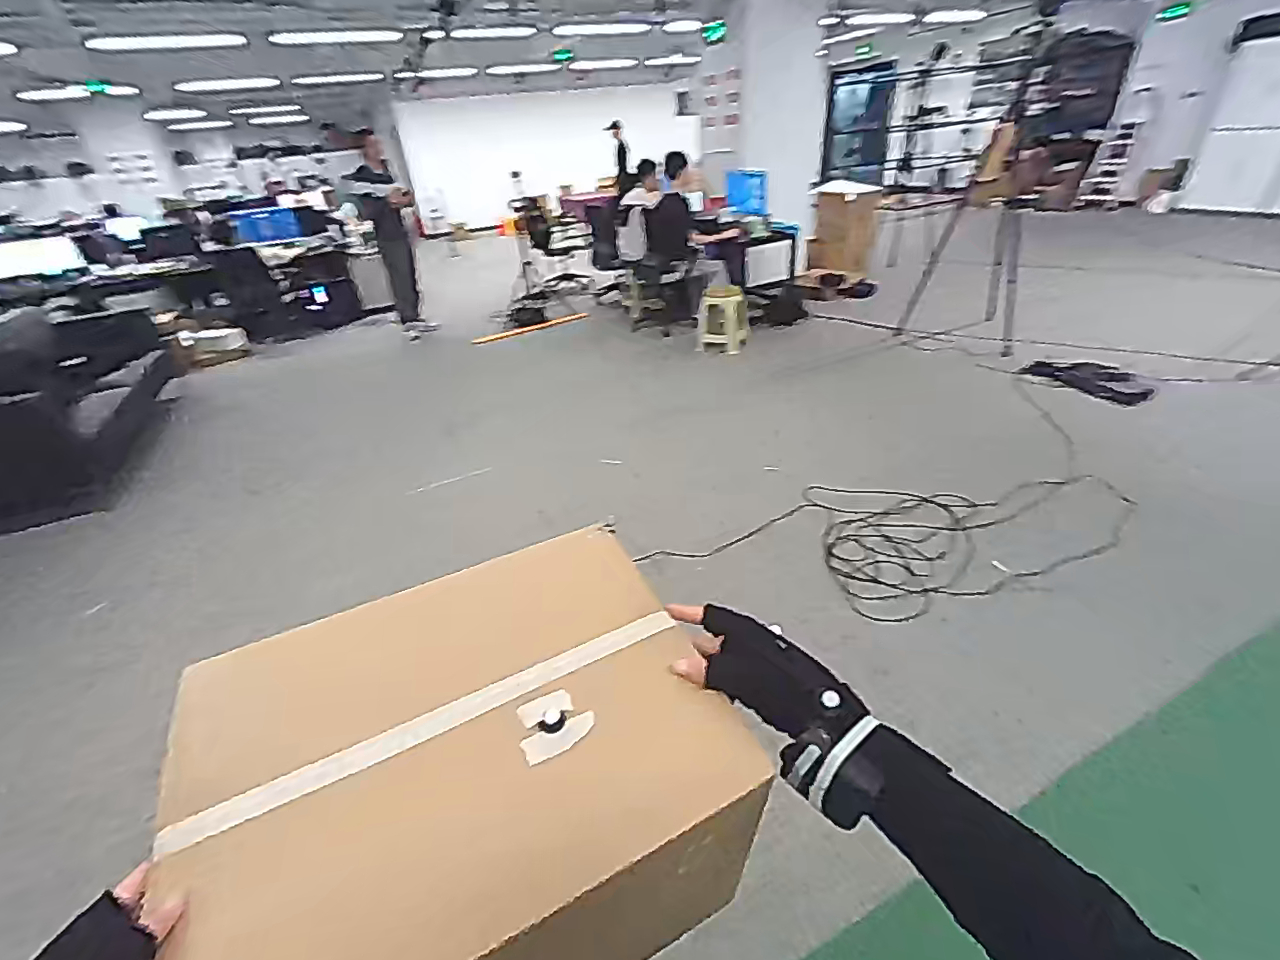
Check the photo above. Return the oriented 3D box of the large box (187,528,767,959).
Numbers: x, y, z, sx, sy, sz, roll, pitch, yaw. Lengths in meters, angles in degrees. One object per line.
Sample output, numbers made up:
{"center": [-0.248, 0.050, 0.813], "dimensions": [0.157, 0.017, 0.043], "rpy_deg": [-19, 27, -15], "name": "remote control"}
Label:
{"center": [-0.139, 0.314, 0.548], "dimensions": [0.408, 0.320, 0.320], "rpy_deg": [-19, 43, -21], "name": "large box"}
